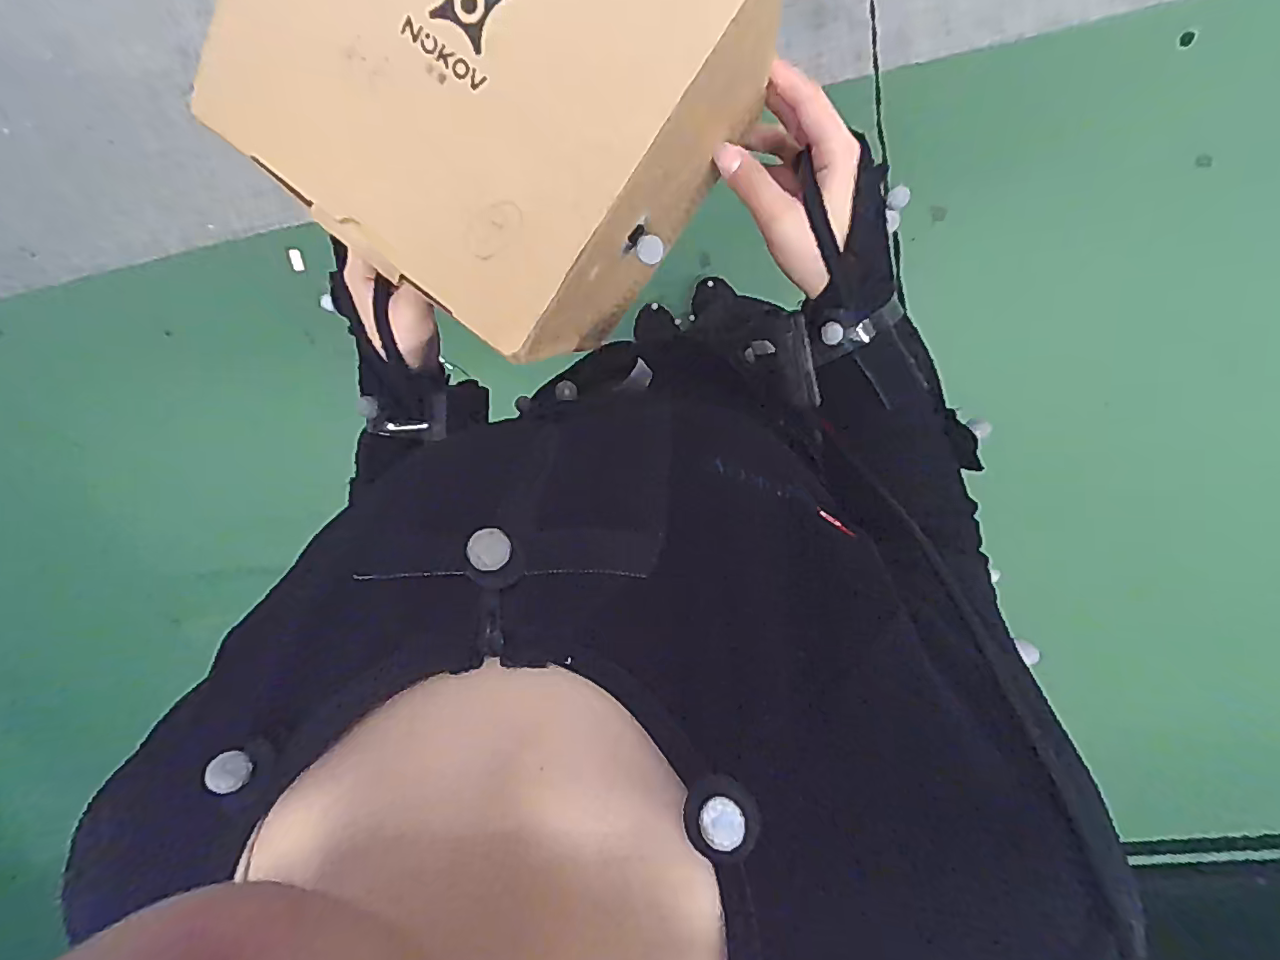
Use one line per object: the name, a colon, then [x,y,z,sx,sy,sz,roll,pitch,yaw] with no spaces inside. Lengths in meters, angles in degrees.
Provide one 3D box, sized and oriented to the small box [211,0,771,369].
small box: [-0.051,-0.179,0.275,0.168,0.176,0.179,38,108,-2]
